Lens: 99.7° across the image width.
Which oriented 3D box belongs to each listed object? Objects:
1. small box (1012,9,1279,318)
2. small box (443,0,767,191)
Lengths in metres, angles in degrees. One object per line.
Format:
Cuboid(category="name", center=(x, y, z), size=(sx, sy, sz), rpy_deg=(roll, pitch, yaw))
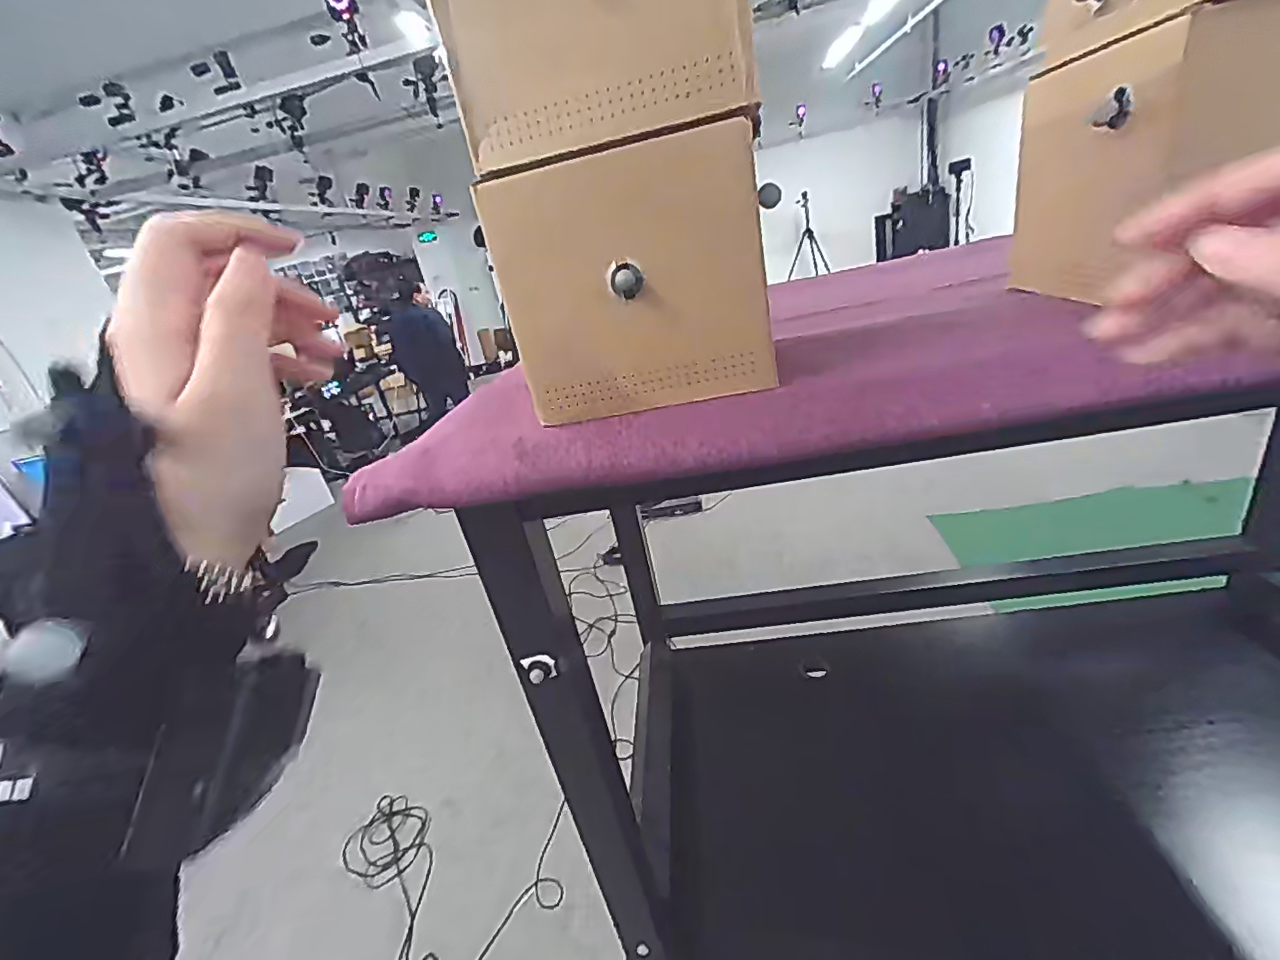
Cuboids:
Cuboid(category="small box", center=(0.403, -0.221, 0.391), size=(0.168, 0.176, 0.179), rpy_deg=(-7, 24, 10))
Cuboid(category="small box", center=(-0.021, -0.299, 0.358), size=(0.179, 0.176, 0.168), rpy_deg=(-9, 25, 10))
